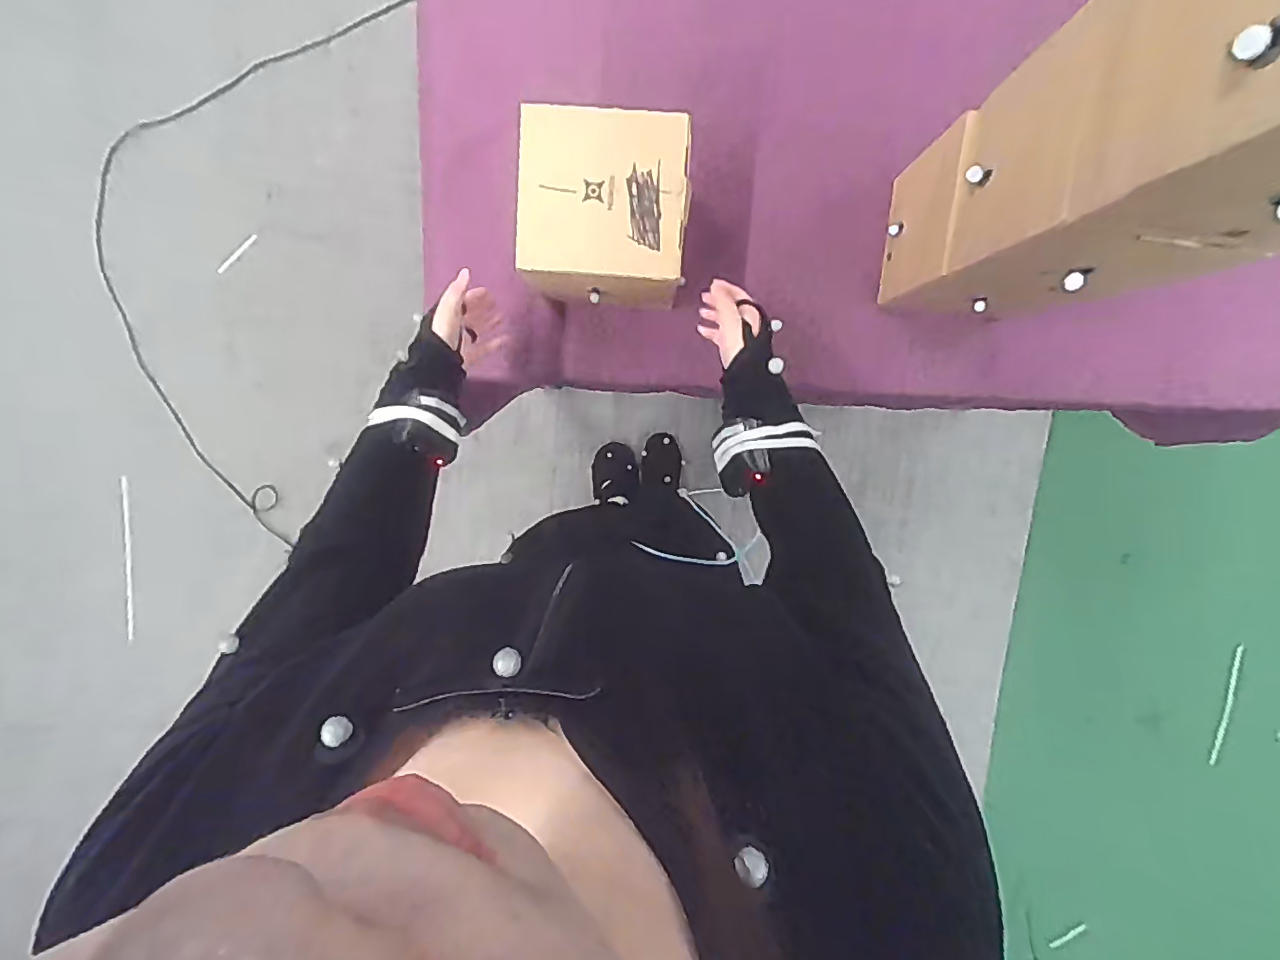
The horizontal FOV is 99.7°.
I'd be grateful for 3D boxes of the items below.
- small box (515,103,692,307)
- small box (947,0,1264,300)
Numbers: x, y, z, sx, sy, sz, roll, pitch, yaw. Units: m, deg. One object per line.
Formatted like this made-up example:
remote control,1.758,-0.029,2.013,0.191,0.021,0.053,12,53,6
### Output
small box,-0.039,-0.307,0.641,0.179,0.176,0.168,4,97,0
small box,0.407,-0.270,0.479,0.168,0.176,0.179,9,98,-1
